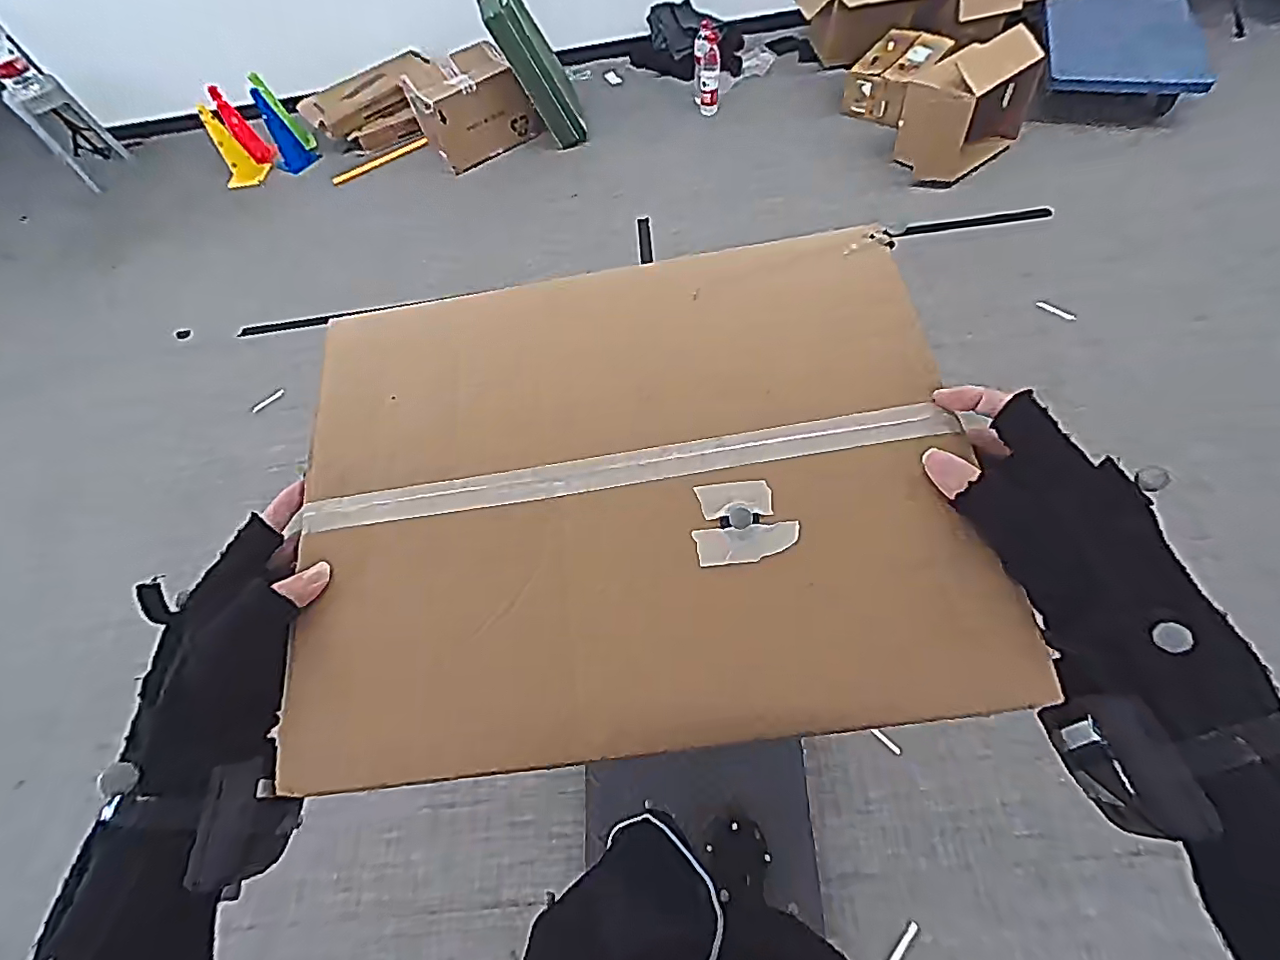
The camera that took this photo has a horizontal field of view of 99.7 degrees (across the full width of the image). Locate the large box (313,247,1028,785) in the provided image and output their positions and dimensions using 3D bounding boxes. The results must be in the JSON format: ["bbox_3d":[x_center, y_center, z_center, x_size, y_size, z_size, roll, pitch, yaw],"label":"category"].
[{"bbox_3d":[0.006,0.054,0.486,0.408,0.320,0.320,-9,69,3],"label":"large box"}]
